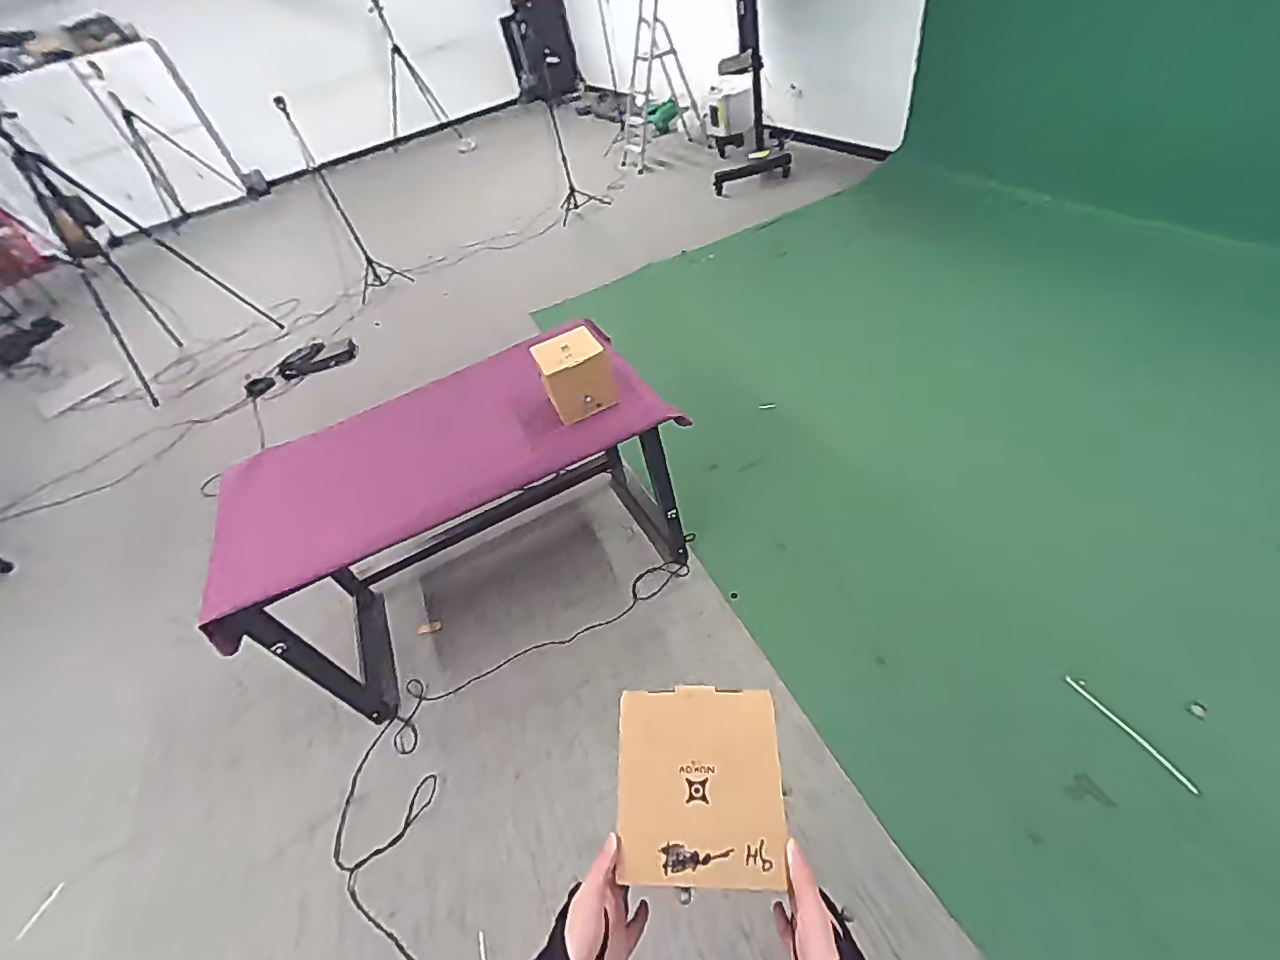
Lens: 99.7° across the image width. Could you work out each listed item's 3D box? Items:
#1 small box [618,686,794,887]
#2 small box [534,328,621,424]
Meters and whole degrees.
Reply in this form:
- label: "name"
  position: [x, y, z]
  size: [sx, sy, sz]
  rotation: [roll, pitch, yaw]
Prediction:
- label: "small box"
  position: [0.074, 0.343, 0.611]
  size: [0.168, 0.176, 0.179]
  rotation: [-5, 57, 9]
- label: "small box"
  position: [-0.170, -0.283, 1.480]
  size: [0.168, 0.176, 0.179]
  rotation: [-25, 44, -8]
